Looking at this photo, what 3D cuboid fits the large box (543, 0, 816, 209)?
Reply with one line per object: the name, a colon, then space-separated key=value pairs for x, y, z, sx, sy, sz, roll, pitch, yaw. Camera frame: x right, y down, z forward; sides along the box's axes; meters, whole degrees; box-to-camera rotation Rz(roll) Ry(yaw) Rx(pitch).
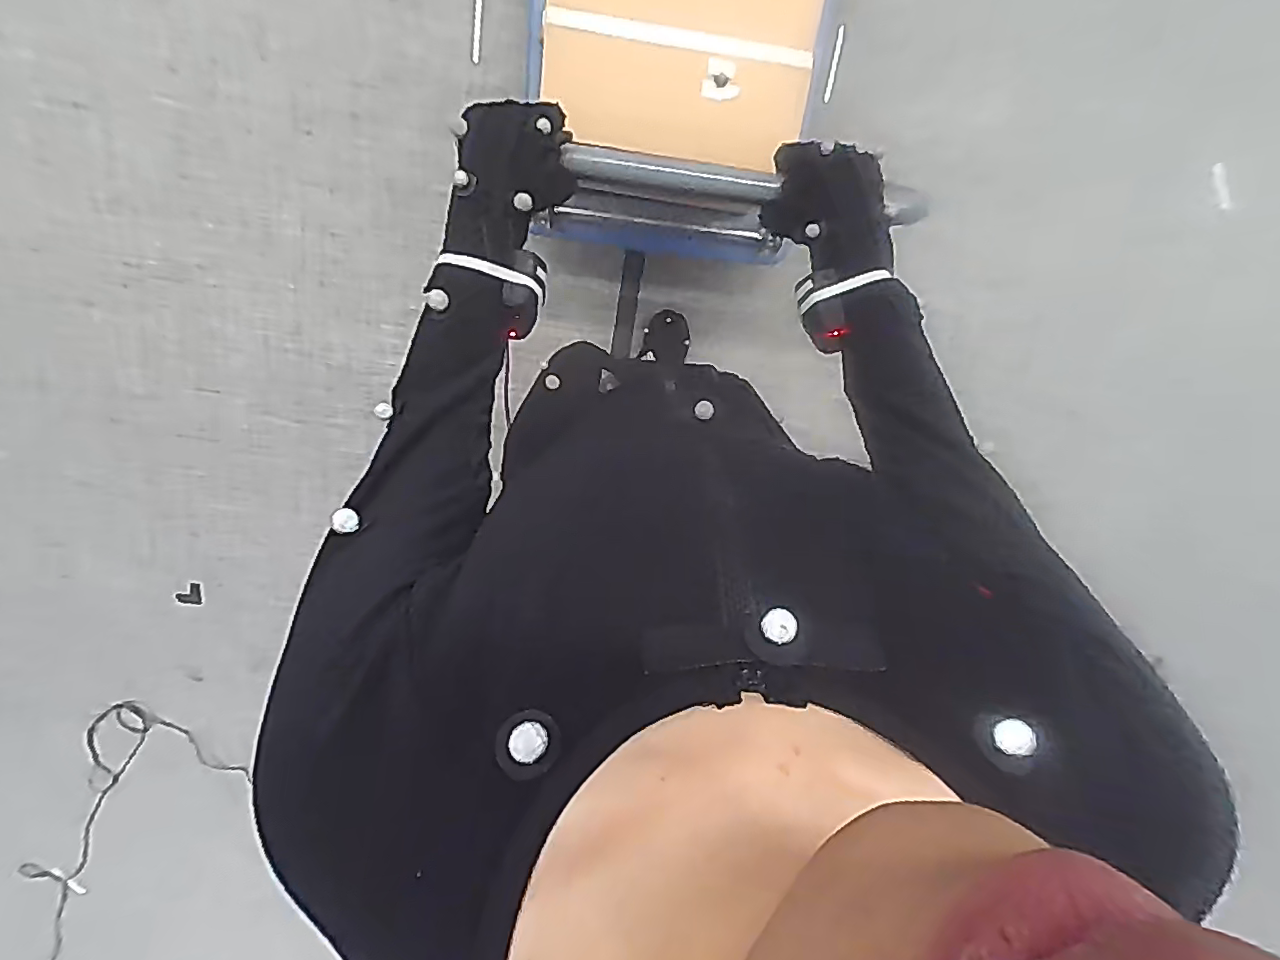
large box: x=0.049 y=-0.703 z=0.963 sx=0.408 sy=0.320 sz=0.320 roll=6 pitch=106 yaw=-5
